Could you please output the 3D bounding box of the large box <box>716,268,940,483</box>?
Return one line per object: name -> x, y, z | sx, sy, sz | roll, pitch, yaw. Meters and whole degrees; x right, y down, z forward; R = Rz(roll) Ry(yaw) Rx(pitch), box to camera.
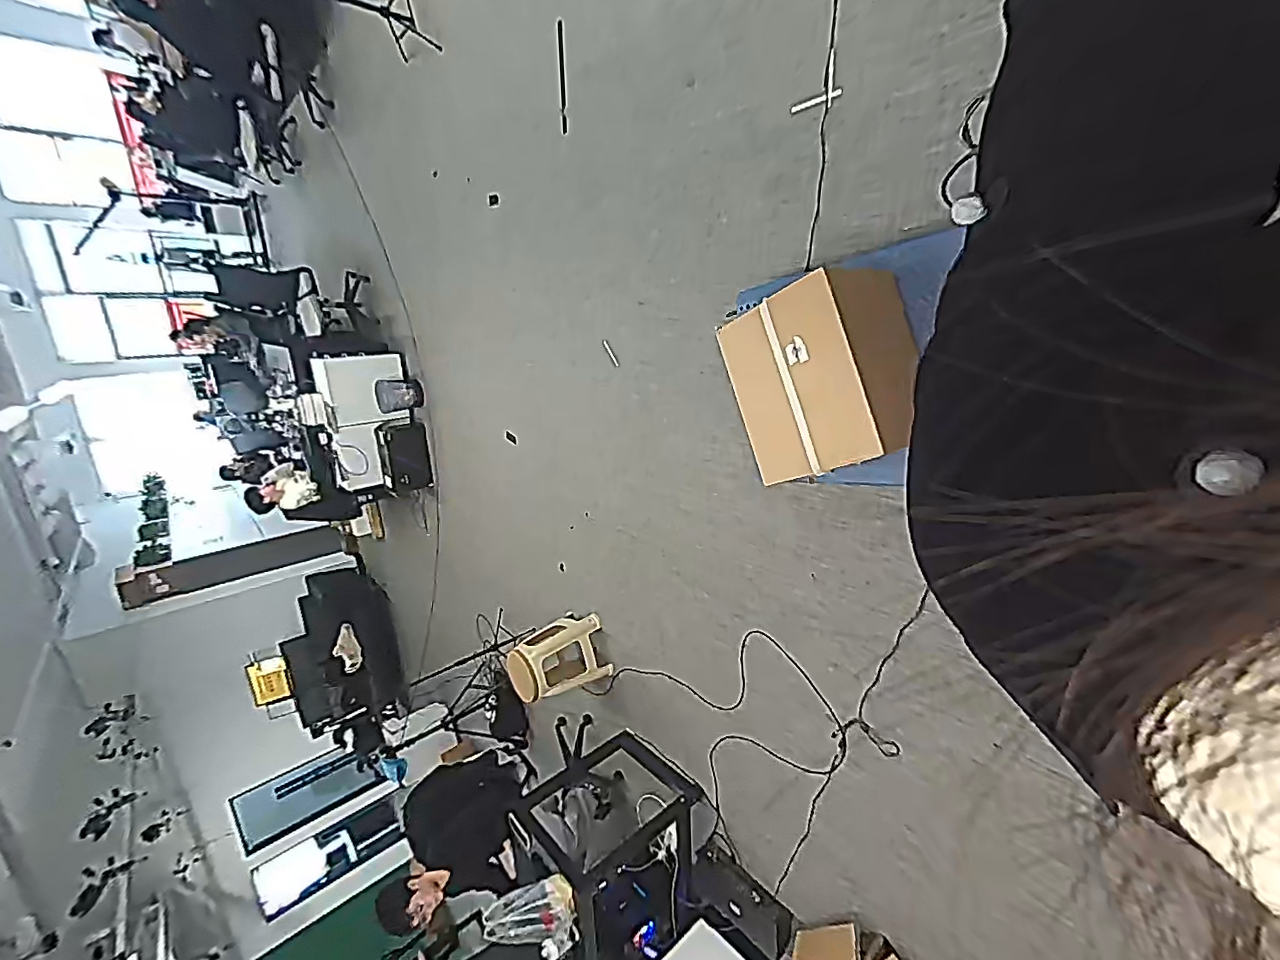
large box -> 0.446, -0.240, 1.292 | 0.320, 0.320, 0.408 | -19, 86, 50
